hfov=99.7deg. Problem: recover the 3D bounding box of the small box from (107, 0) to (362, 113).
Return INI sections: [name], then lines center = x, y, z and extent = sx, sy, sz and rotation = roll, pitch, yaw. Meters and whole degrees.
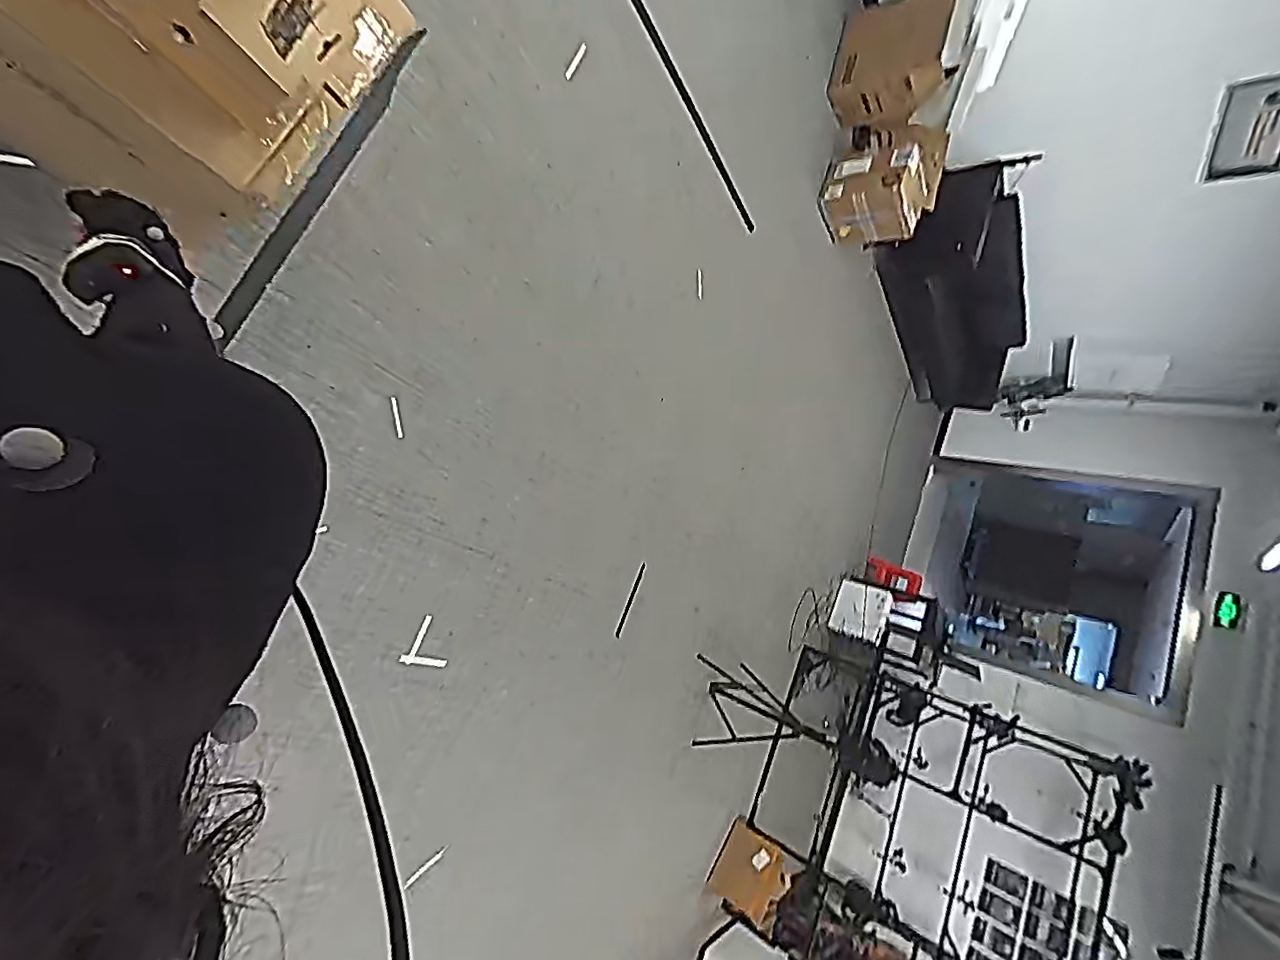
[small box]
center = -0.472, -0.563, 0.623
extent = 0.179, 0.176, 0.168
rotation = 42, 68, -45
